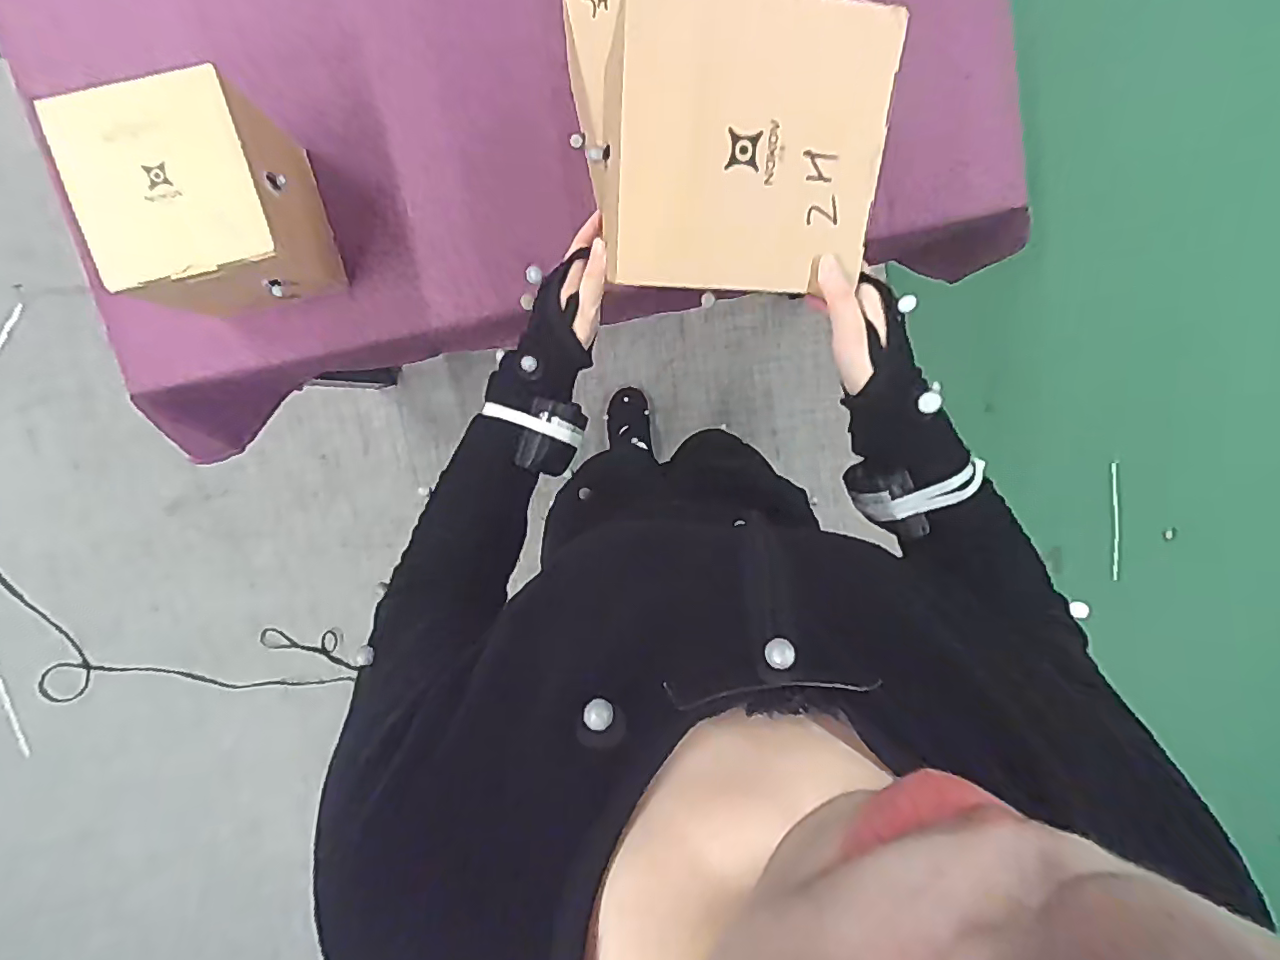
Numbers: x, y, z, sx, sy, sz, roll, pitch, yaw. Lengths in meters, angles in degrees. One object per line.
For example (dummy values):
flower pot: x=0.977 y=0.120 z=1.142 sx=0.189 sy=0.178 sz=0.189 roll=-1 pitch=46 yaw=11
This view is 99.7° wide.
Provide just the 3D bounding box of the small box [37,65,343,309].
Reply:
small box: x=-0.458 y=-0.295 z=0.588 sx=0.168 sy=0.176 sz=0.179 roll=-14 pitch=99 yaw=-4

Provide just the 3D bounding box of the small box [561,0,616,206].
small box: x=0.014 y=-0.420 z=0.609 sx=0.168 sy=0.176 sz=0.179 roll=-12 pitch=100 yaw=-3

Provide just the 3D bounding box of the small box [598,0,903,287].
small box: x=0.060 y=-0.244 z=0.419 sx=0.179 sy=0.176 sz=0.168 roll=0 pitch=113 yaw=-9
